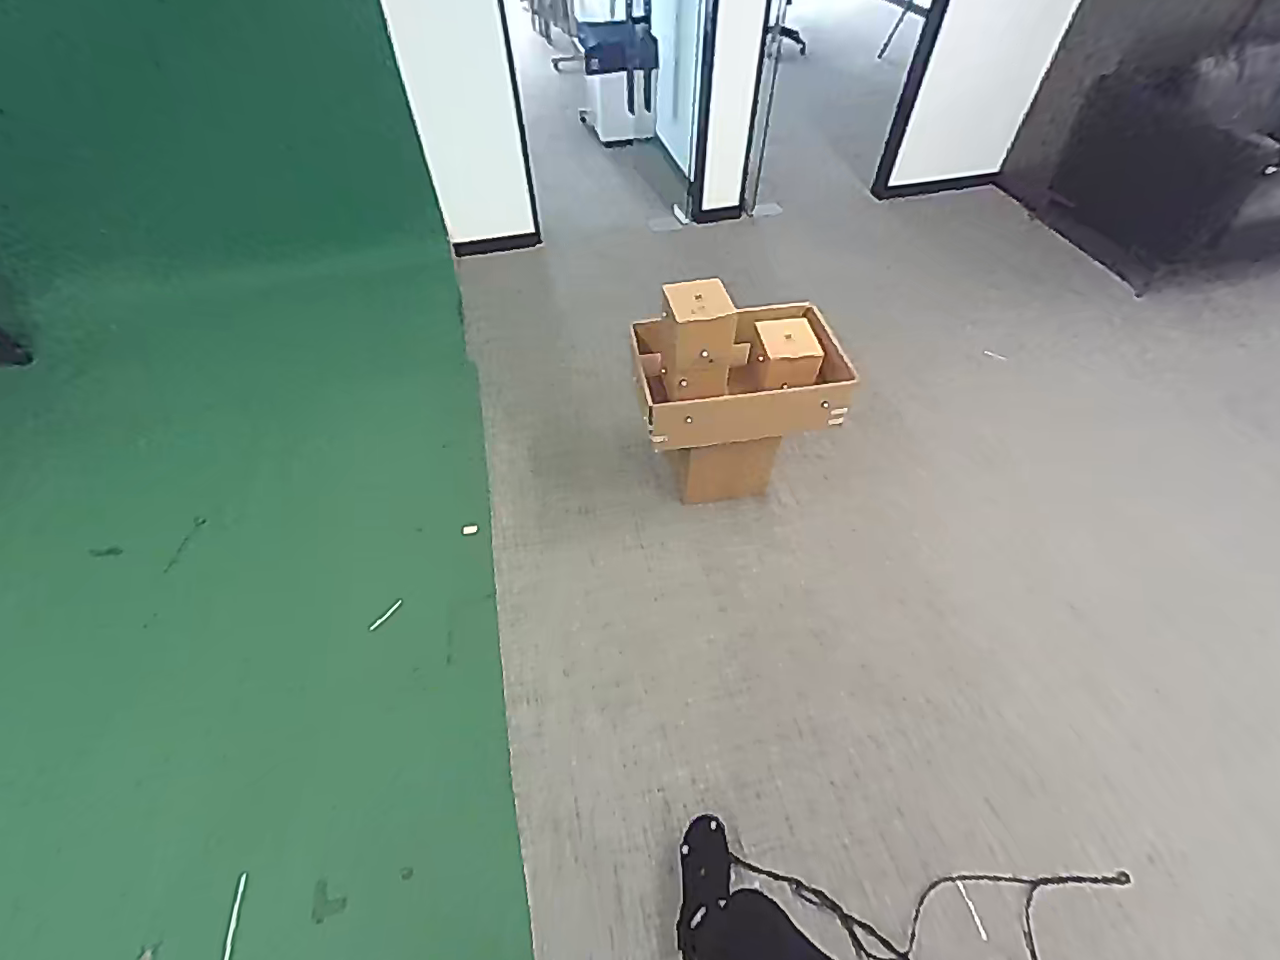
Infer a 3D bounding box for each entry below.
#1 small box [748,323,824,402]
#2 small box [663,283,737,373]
[{"bbox_3d":[0.445,-0.364,1.680,0.168,0.176,0.179,-6,53,-5],"label":"small box"},{"bbox_3d":[0.160,-0.427,1.519,0.168,0.176,0.179,-10,52,-7],"label":"small box"}]
